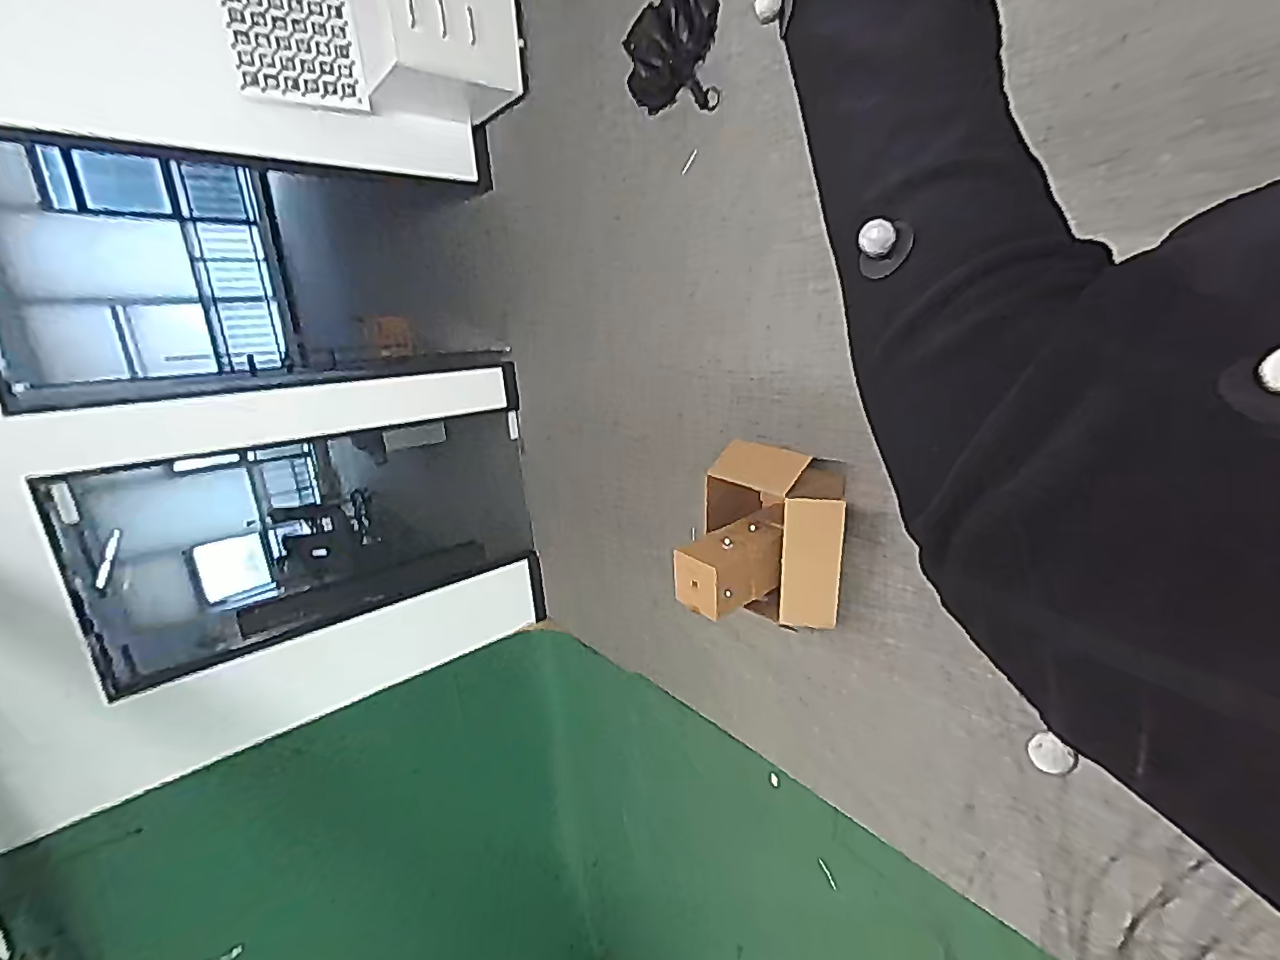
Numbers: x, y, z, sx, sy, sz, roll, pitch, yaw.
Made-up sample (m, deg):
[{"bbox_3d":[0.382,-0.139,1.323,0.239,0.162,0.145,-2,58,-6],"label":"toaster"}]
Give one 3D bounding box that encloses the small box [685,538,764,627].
[{"bbox_3d":[0.250,0.292,1.586,0.168,0.176,0.179,17,118,47],"label":"small box"}]
